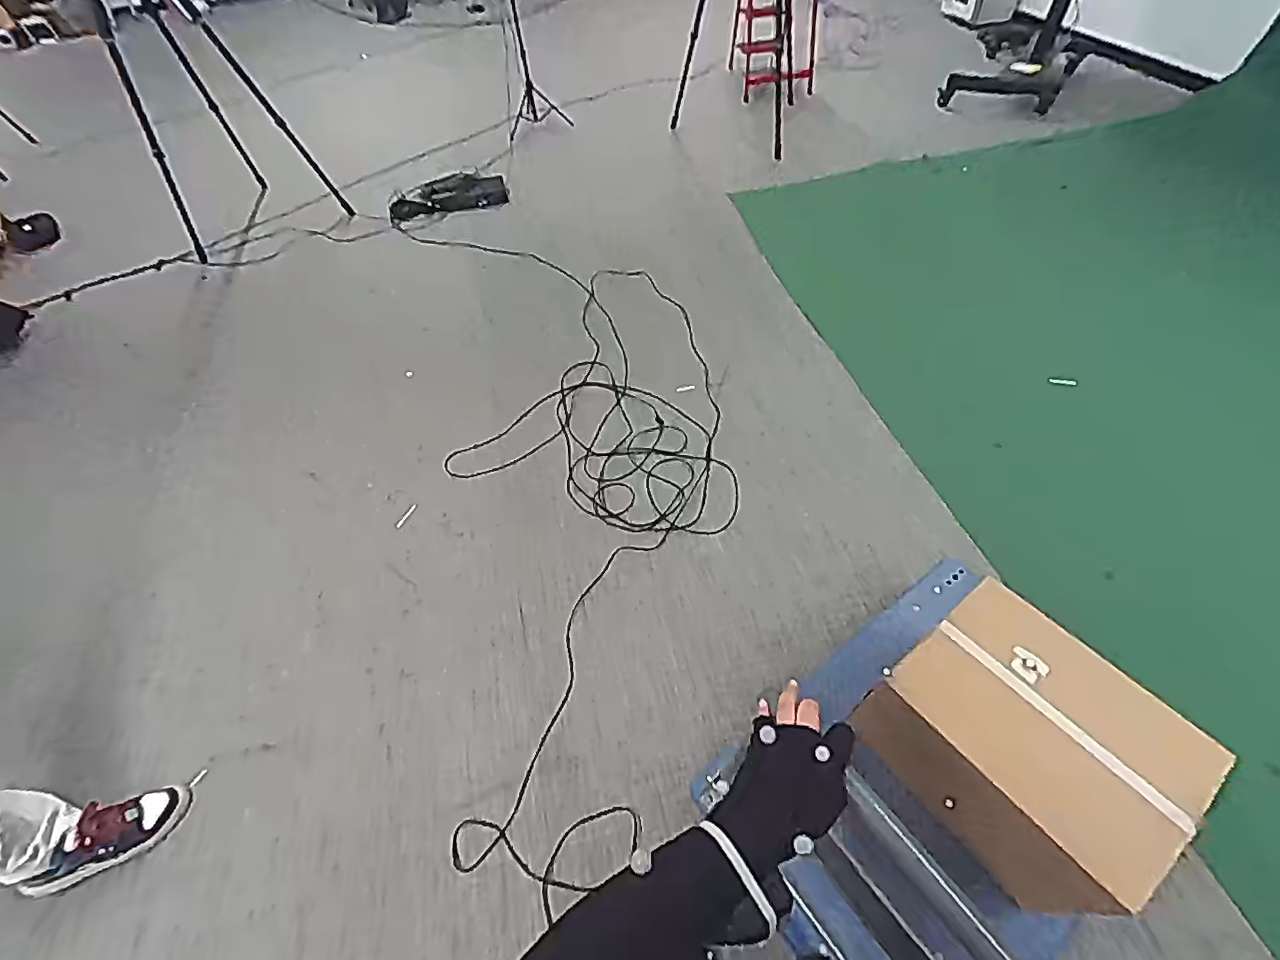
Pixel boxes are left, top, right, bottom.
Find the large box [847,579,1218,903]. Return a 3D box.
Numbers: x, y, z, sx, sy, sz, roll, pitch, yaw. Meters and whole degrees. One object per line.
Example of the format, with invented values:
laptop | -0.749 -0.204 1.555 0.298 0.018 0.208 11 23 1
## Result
large box | 0.670 0.473 1.004 0.320 0.320 0.408 -34 56 -19
